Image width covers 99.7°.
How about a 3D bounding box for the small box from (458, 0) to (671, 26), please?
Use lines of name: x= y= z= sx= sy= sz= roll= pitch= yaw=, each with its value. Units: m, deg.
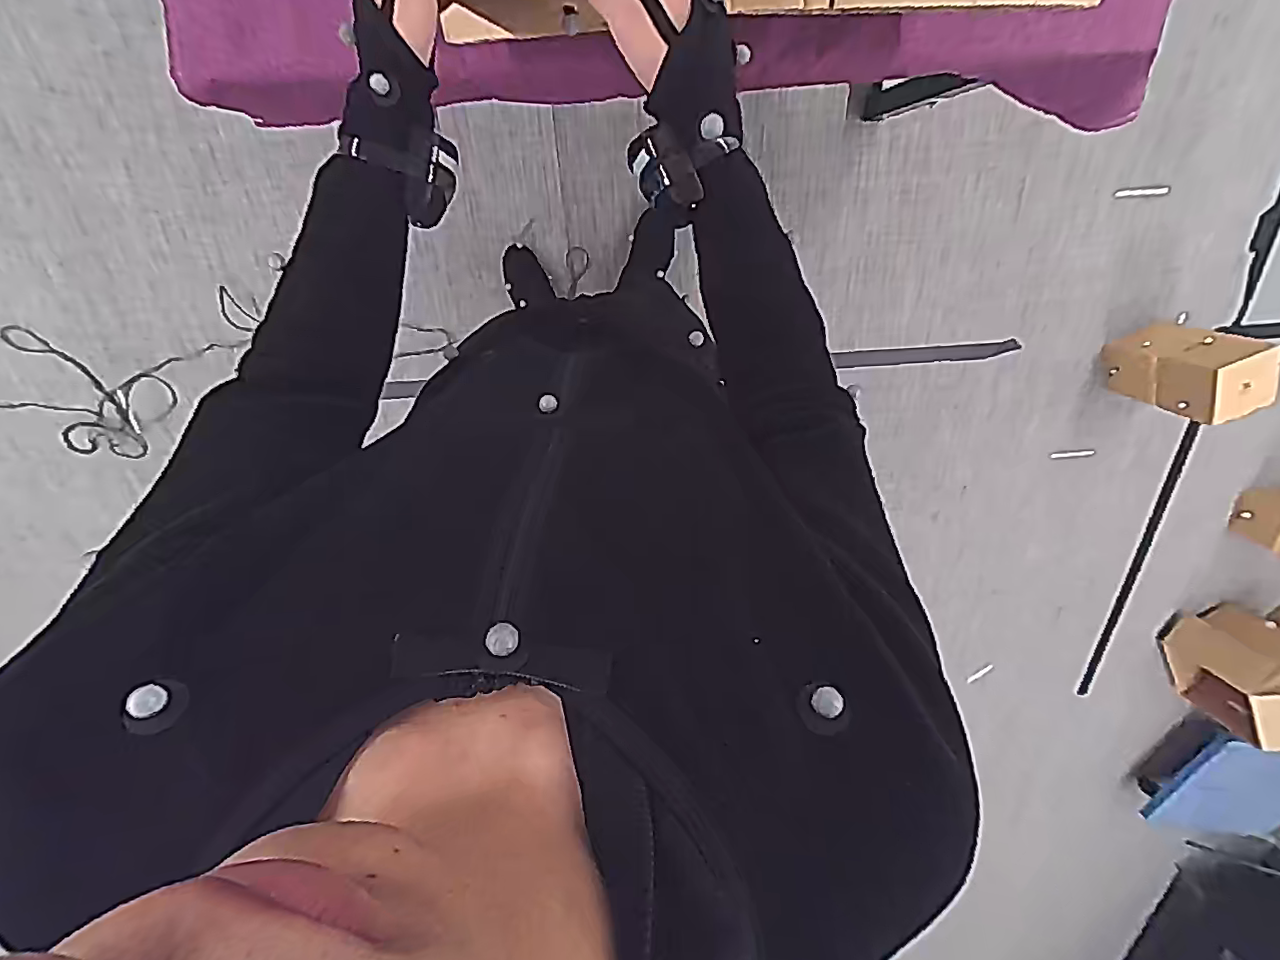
small box: x=-0.066 y=-0.499 z=0.441 sx=0.168 sy=0.176 sz=0.179 roll=4 pitch=120 yaw=12
